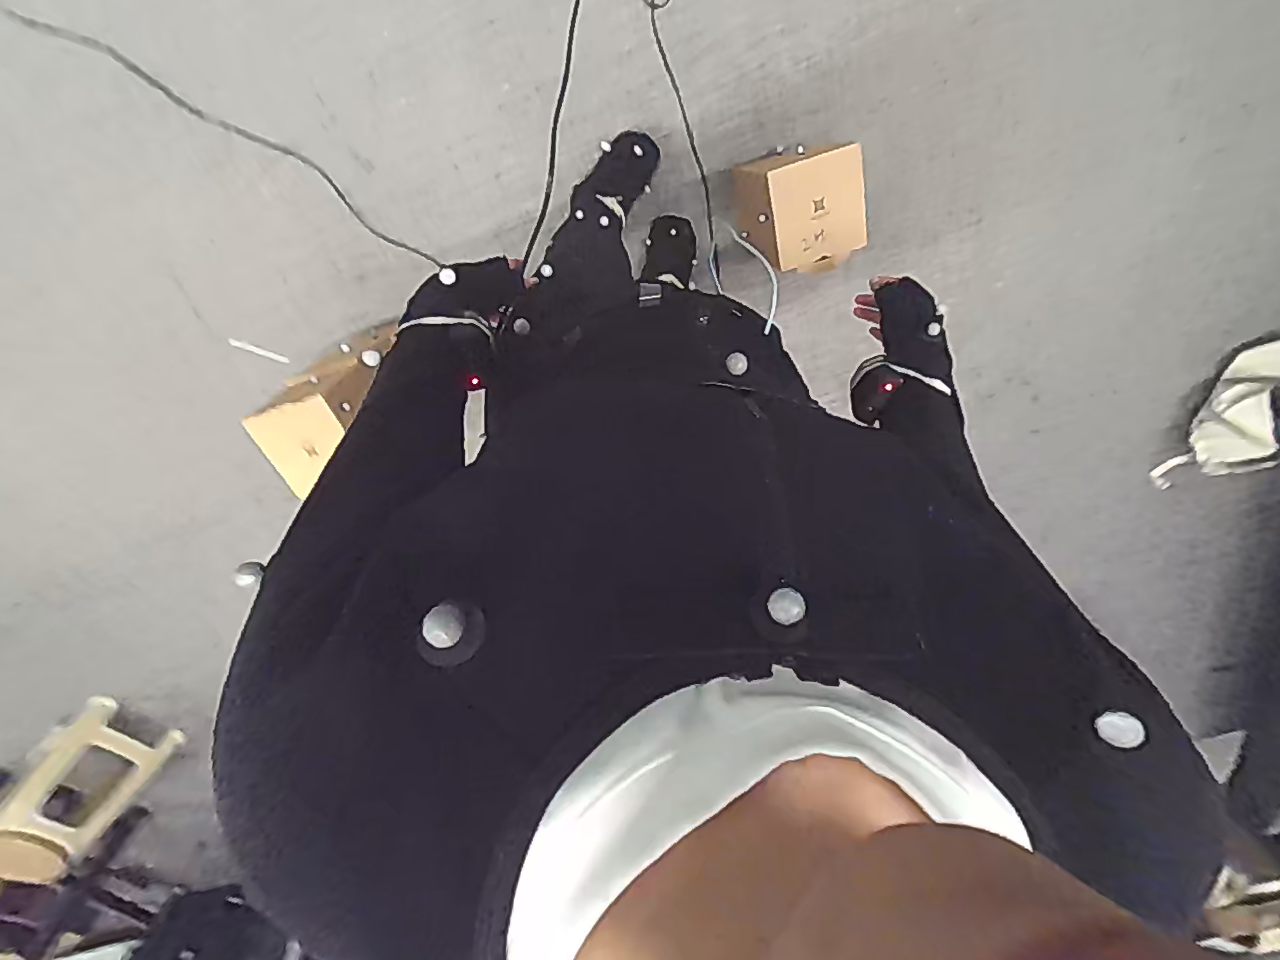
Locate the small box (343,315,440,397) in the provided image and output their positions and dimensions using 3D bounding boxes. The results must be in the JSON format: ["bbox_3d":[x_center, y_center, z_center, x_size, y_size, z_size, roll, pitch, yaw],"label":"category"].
[{"bbox_3d":[-0.611,-0.286,1.321,0.179,0.176,0.168,-16,121,7],"label":"small box"}]

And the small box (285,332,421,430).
[{"bbox_3d":[-0.611,-0.198,1.181,0.168,0.176,0.179,-15,120,7],"label":"small box"}]

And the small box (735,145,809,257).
[{"bbox_3d":[0.309,-0.604,1.163,0.168,0.176,0.179,-13,121,5],"label":"small box"}]

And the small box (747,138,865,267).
[{"bbox_3d":[0.313,-0.531,1.035,0.168,0.176,0.179,-15,122,5],"label":"small box"}]

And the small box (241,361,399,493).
[{"bbox_3d":[-0.602,-0.106,1.048,0.168,0.176,0.179,-16,120,7],"label":"small box"}]
